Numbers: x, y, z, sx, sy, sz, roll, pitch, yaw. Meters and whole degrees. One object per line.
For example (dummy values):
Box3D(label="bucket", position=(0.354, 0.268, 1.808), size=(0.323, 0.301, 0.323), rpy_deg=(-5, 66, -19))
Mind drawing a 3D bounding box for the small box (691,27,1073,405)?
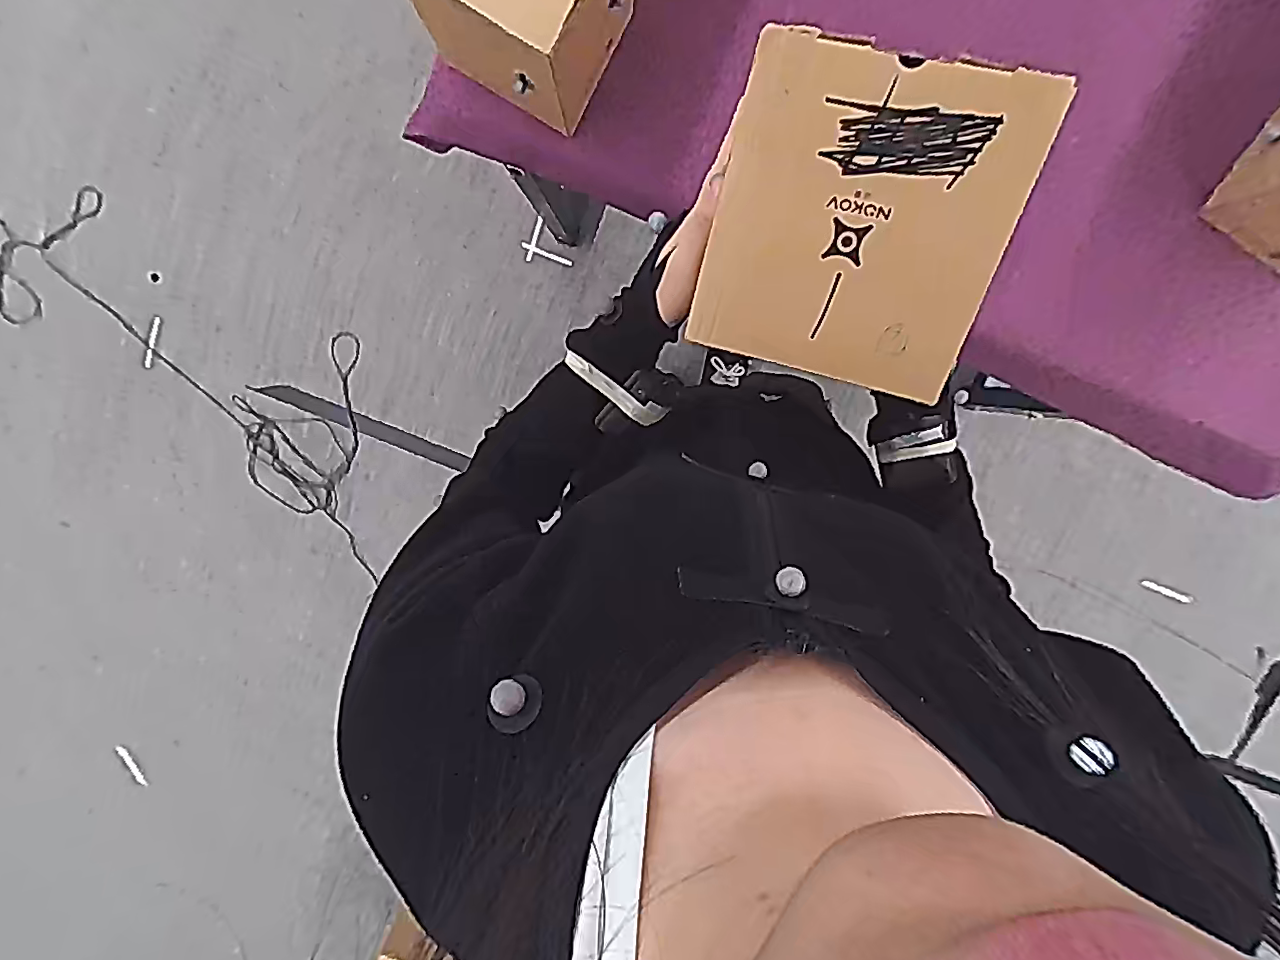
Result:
Box3D(label="small box", position=(0.146, -0.174, 0.393), size=(0.168, 0.176, 0.179), rpy_deg=(18, 112, 8))
